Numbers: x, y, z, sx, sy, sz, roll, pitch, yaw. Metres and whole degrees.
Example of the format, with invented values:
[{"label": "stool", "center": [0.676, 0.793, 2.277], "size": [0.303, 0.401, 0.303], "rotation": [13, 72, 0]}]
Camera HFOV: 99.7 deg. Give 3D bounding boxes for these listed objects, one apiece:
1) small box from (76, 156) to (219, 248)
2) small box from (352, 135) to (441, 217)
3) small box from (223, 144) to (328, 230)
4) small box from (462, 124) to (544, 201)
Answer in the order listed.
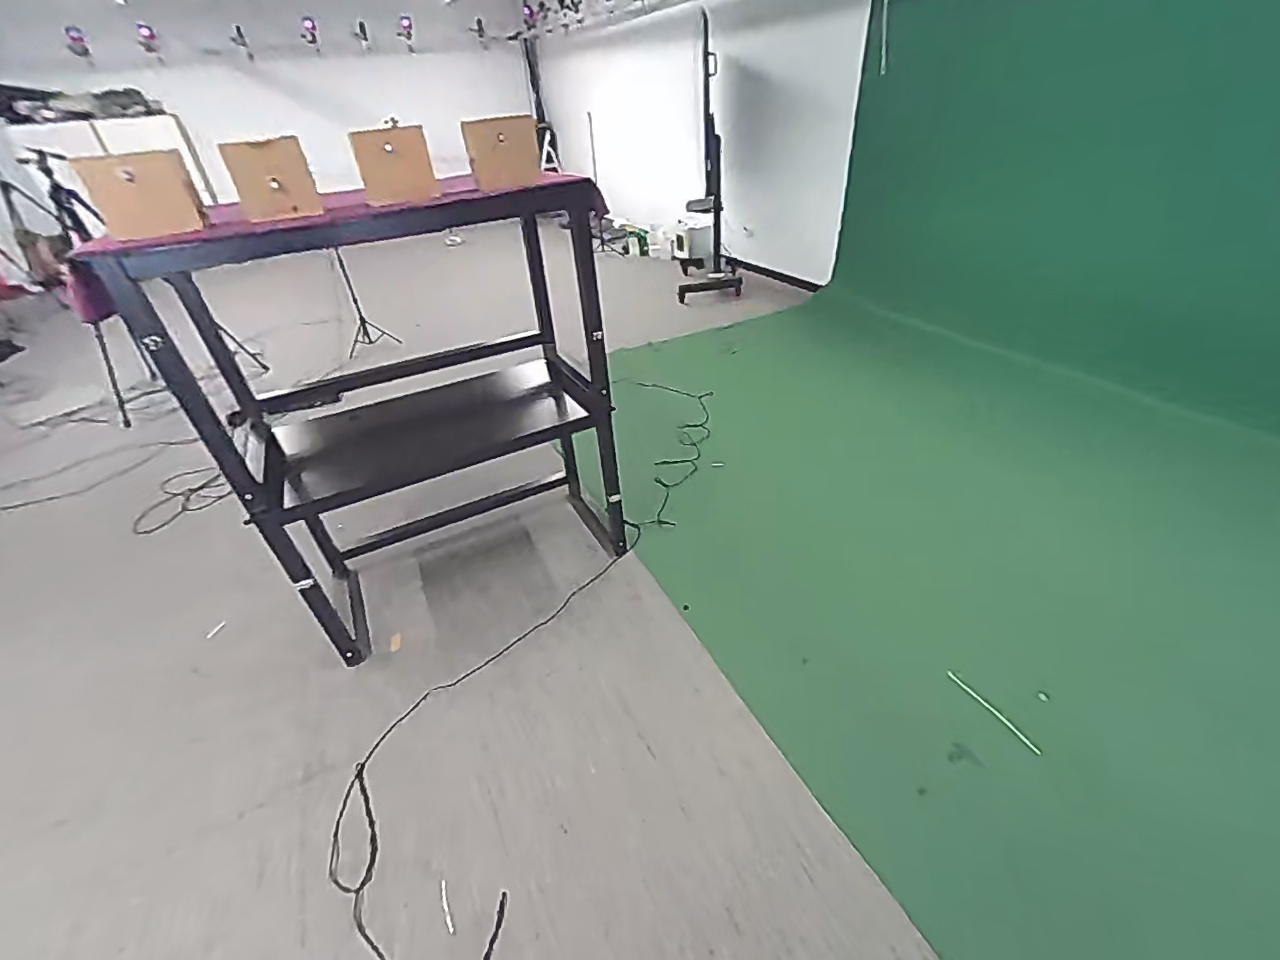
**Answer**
[{"label": "small box", "center": [-1.126, -0.646, 1.253], "size": [0.179, 0.176, 0.168], "rotation": [-19, 37, -22]}, {"label": "small box", "center": [-0.645, -0.814, 1.443], "size": [0.179, 0.176, 0.168], "rotation": [-20, 36, -19]}, {"label": "small box", "center": [-0.896, -0.728, 1.345], "size": [0.168, 0.176, 0.179], "rotation": [-19, 37, -21]}, {"label": "small box", "center": [-0.388, -0.902, 1.535], "size": [0.179, 0.176, 0.168], "rotation": [-17, 38, -17]}]
